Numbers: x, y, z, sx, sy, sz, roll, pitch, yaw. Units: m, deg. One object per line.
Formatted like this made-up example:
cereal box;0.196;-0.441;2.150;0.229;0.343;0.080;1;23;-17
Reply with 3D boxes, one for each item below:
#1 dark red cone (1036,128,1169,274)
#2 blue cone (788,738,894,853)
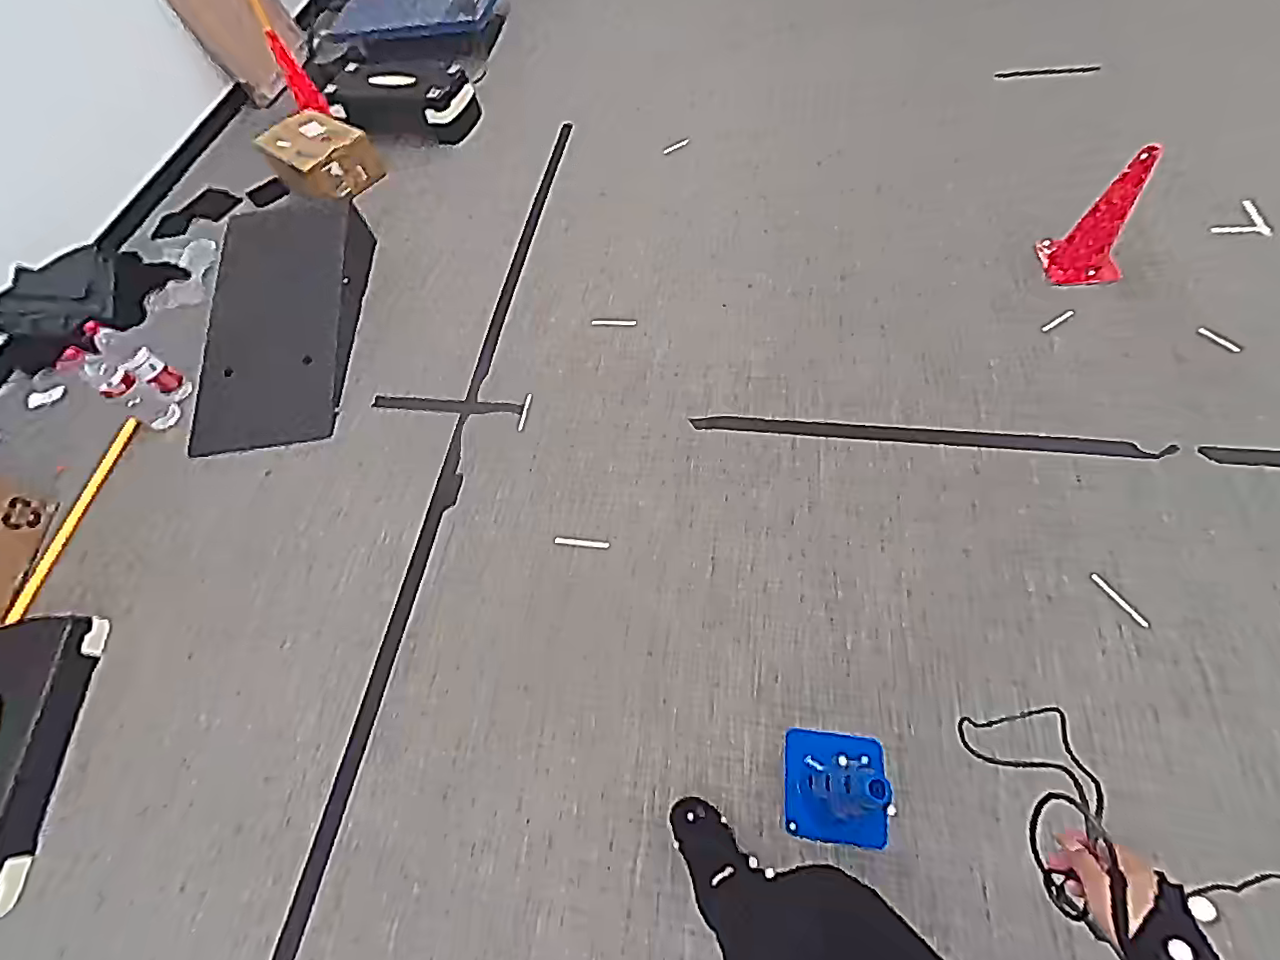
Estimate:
dark red cone;1.342;-0.792;1.540;0.202;0.394;0.201;-3;62;7
blue cone;0.377;0.558;0.954;0.193;0.380;0.192;4;63;11
